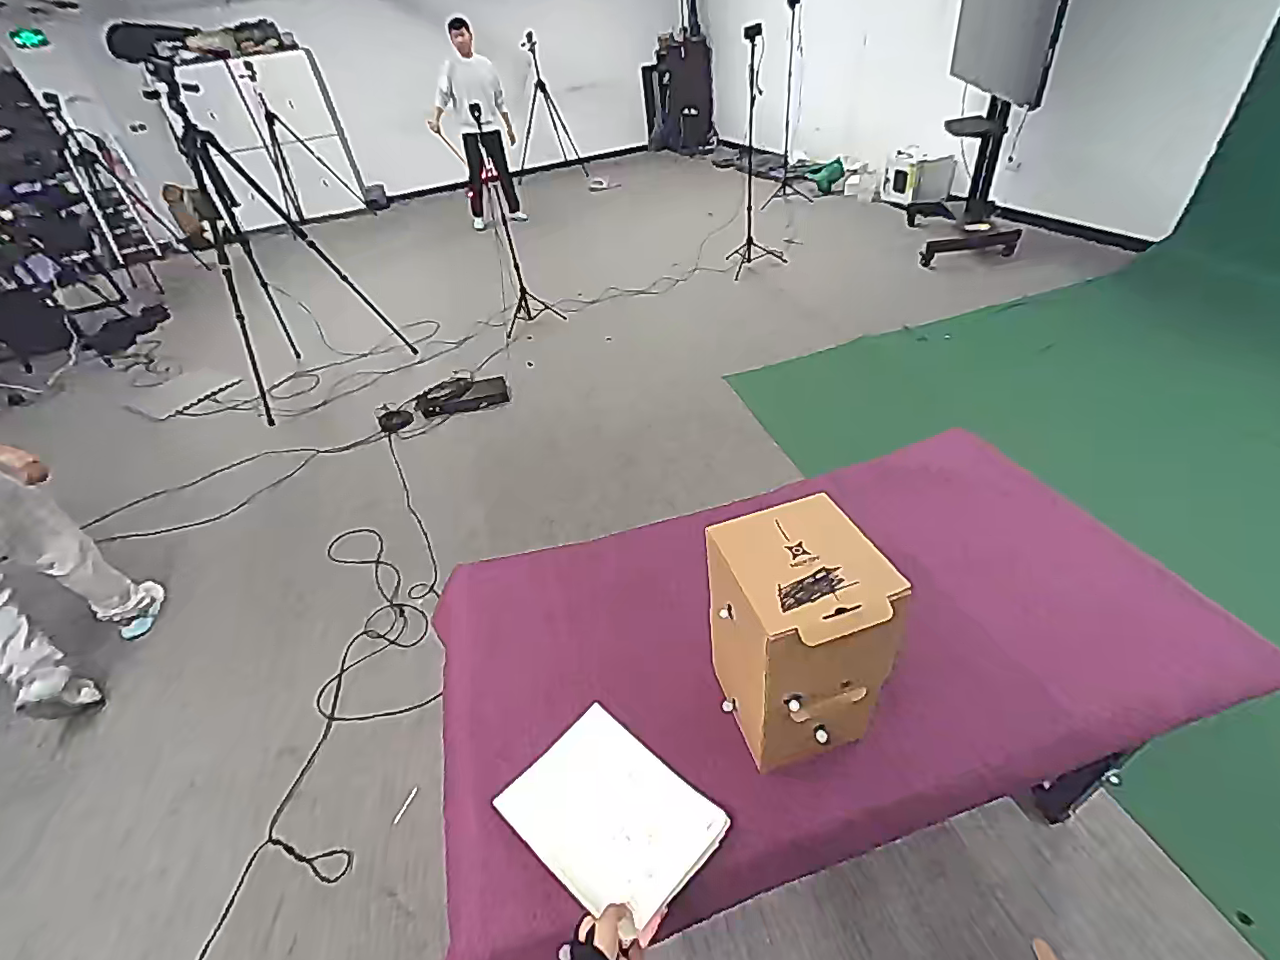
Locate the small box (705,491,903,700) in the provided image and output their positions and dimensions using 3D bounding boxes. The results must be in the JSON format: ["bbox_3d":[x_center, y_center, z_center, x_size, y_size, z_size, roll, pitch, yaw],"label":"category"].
[{"bbox_3d":[0.191,0.147,0.672,0.168,0.176,0.179,-15,38,-7],"label":"small box"}]

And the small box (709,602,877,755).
[{"bbox_3d":[0.210,0.270,0.782,0.168,0.176,0.179,-15,40,-8],"label":"small box"}]
